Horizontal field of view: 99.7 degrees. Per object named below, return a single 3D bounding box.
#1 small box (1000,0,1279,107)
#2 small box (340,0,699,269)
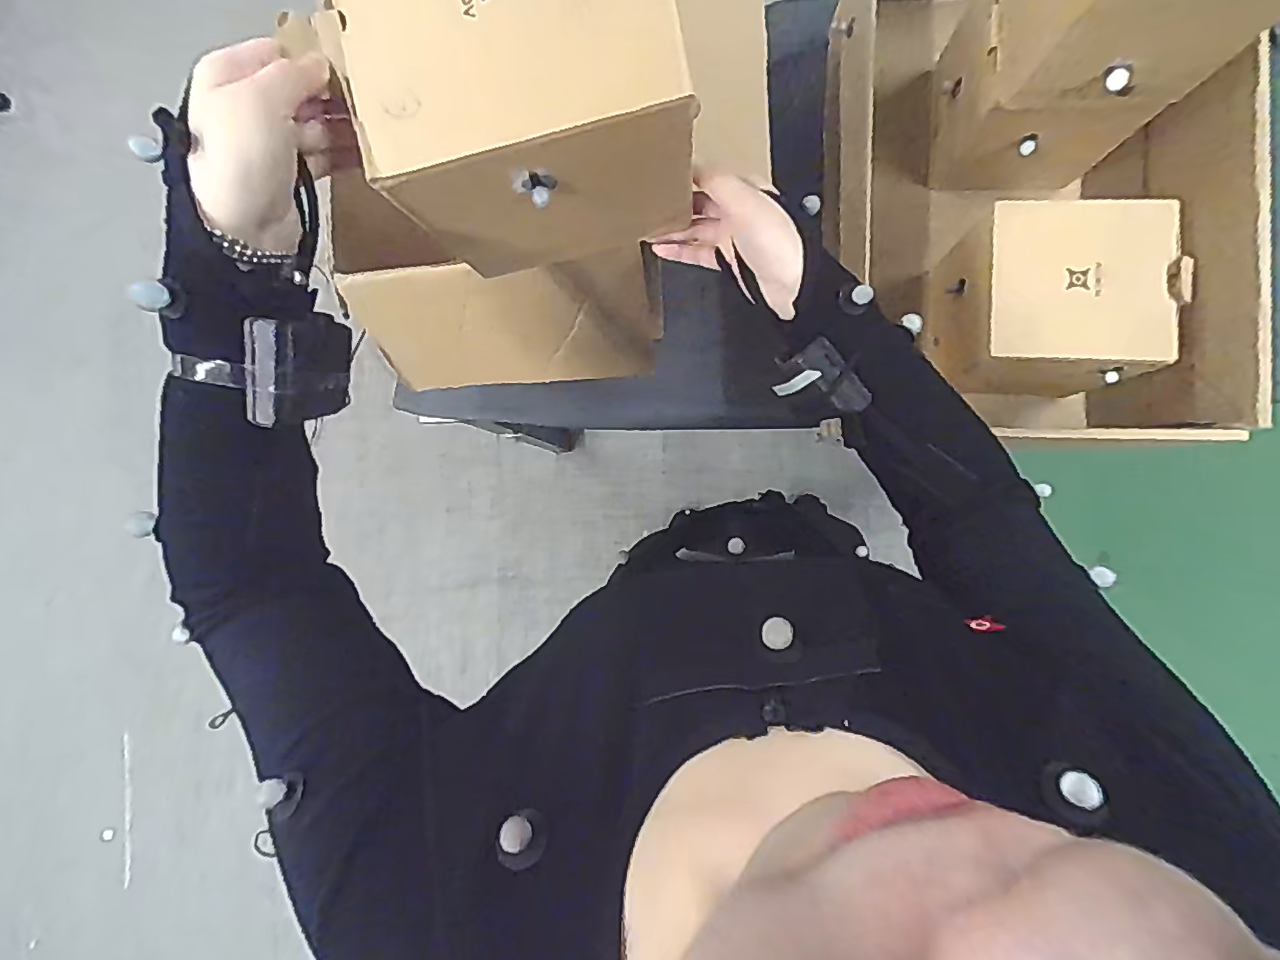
[{"bbox_3d":[0.442,-0.465,0.466,0.168,0.176,0.179,2,90,6],"label":"small box"},{"bbox_3d":[-0.062,-0.257,0.351,0.179,0.176,0.168,-12,93,5],"label":"small box"}]
